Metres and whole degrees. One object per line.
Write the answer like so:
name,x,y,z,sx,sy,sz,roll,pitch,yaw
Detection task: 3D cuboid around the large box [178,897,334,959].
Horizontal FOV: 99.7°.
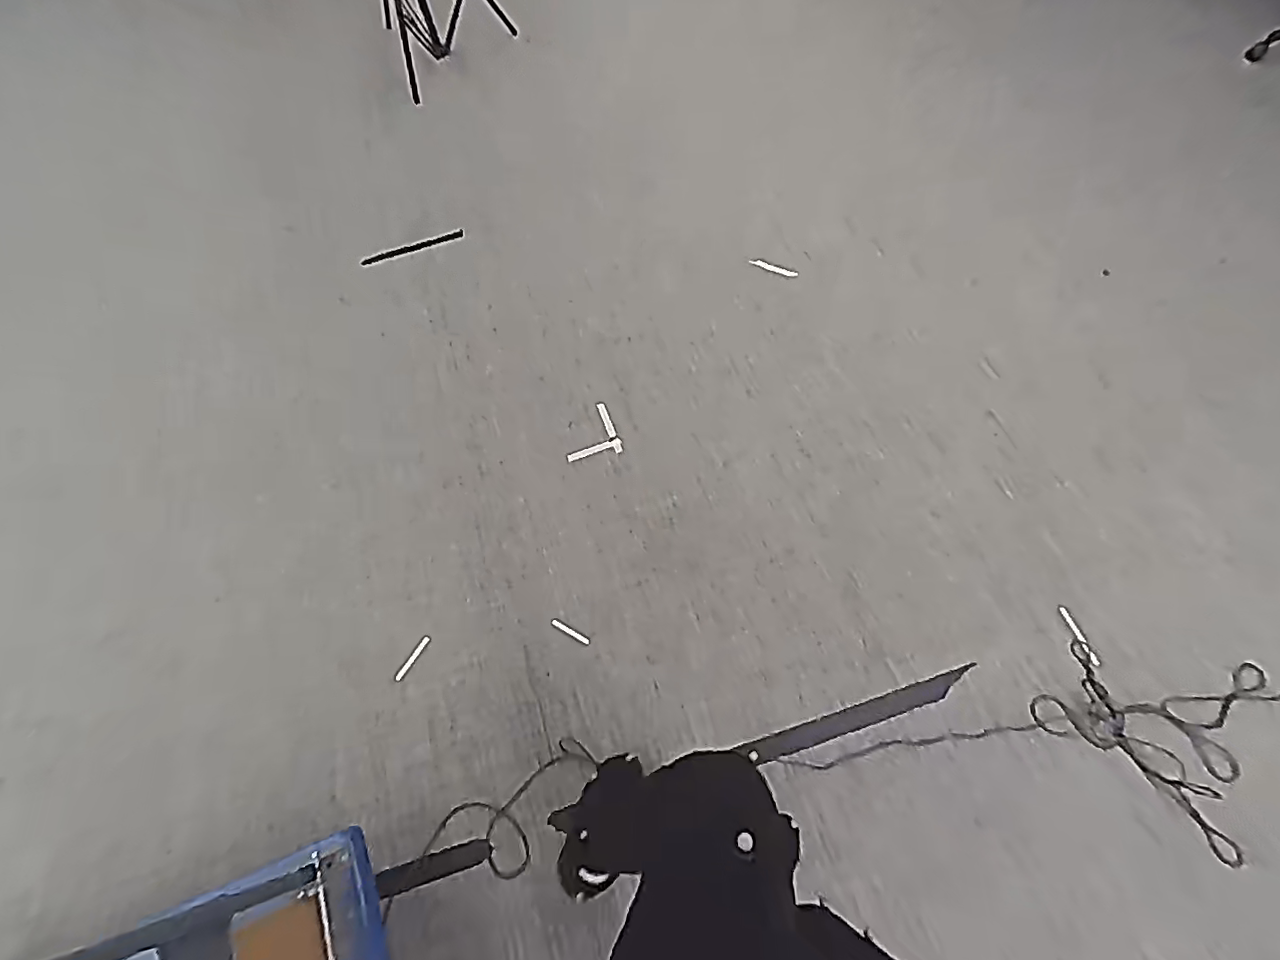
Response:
large box,-0.654,0.933,0.778,0.320,0.320,0.408,-23,65,-8
